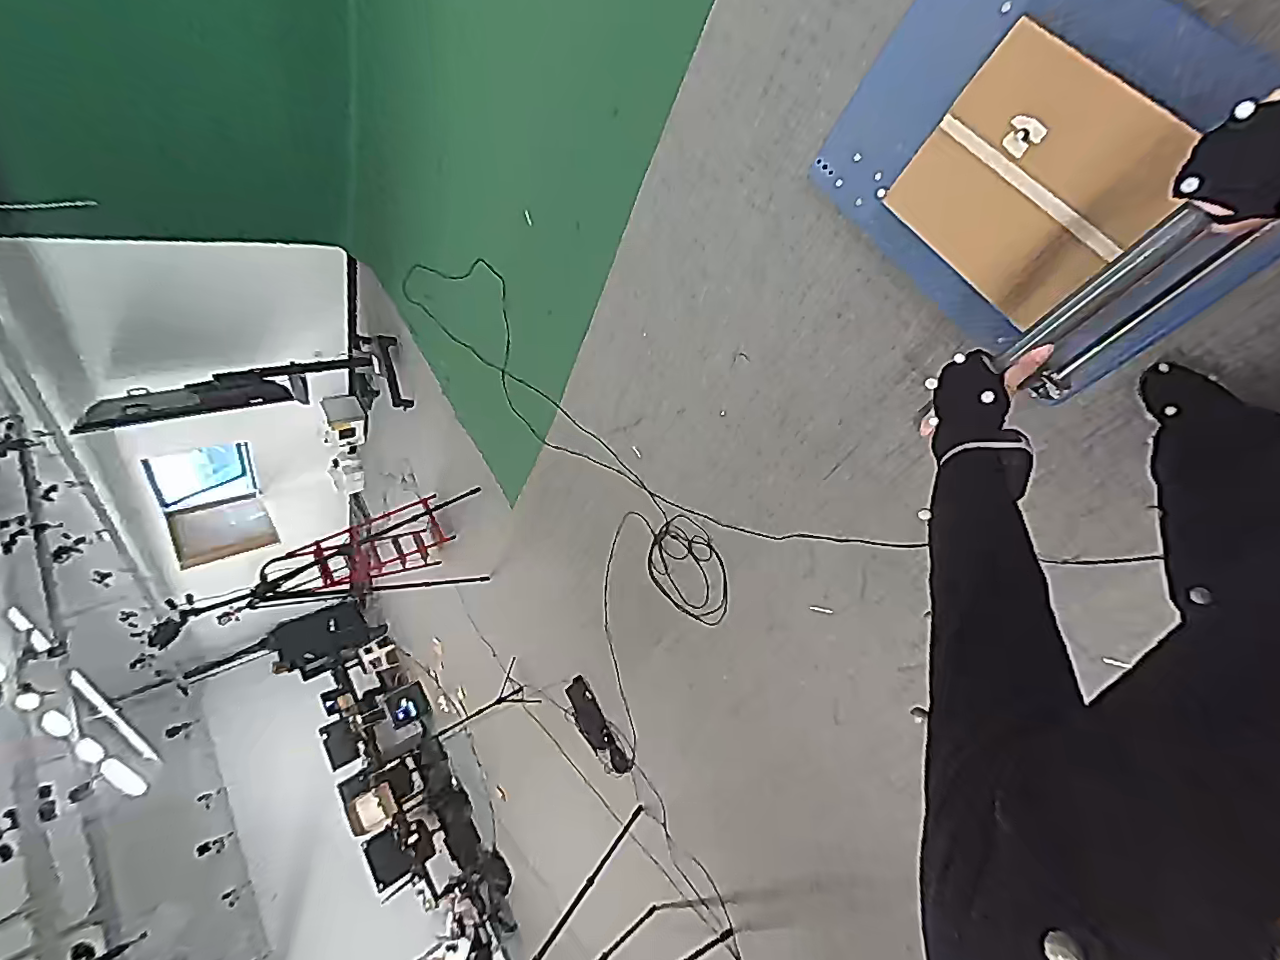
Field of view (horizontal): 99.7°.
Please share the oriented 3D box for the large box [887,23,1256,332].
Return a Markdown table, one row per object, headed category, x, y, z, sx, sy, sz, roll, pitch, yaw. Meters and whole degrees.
| category | x | y | z | sx | sy | sz | roll | pitch | yaw |
| --- | --- | --- | --- | --- | --- | --- | --- | --- | --- |
| large box | 0.769 | -0.530 | 0.996 | 0.408 | 0.320 | 0.320 | 57 | 139 | 20 |
